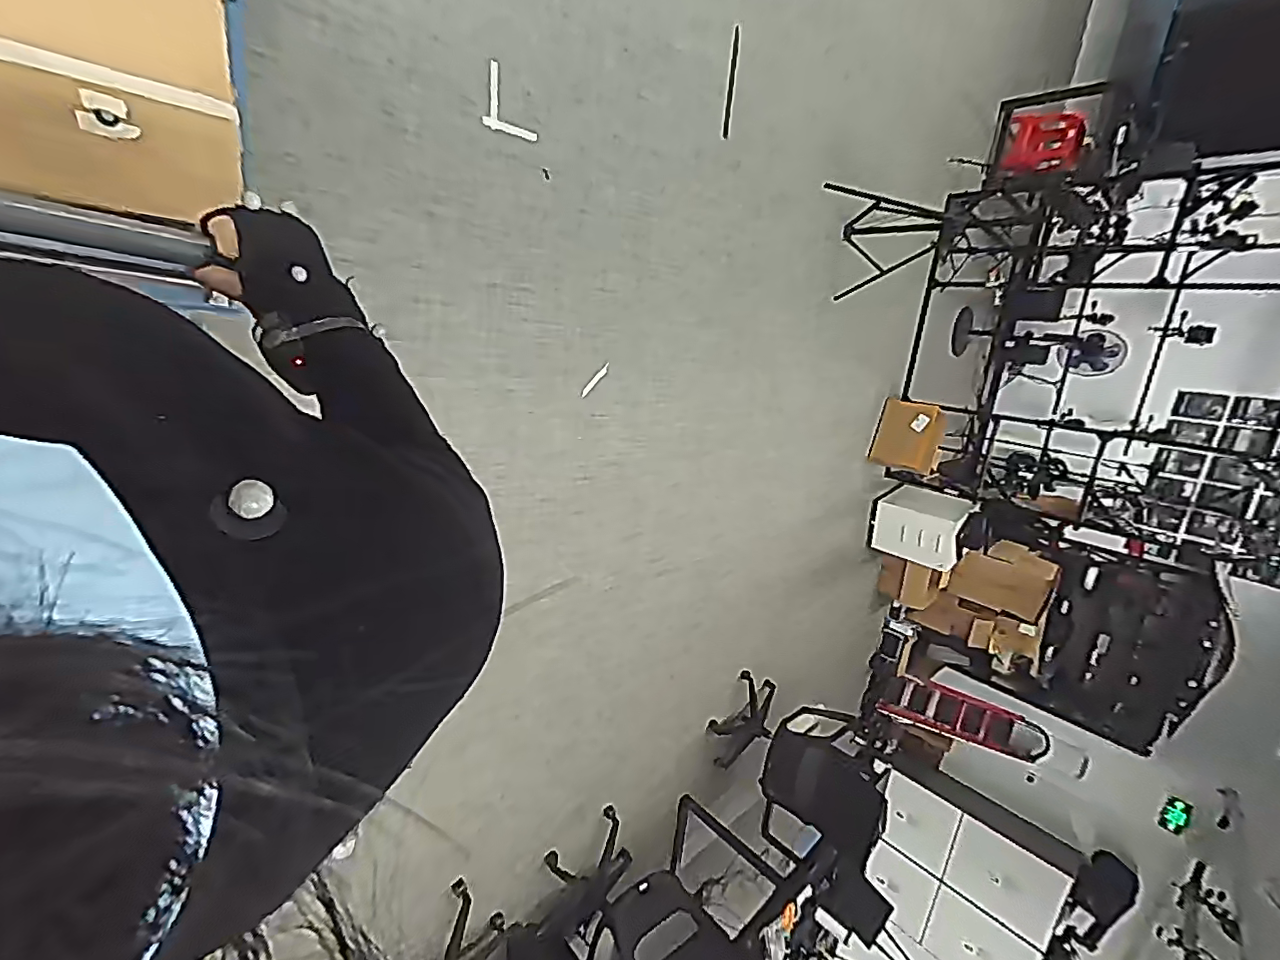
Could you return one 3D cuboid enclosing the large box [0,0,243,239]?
[{"bbox_3d":[-0.826,-0.528,0.724,0.408,0.320,0.320,-11,112,-45],"label":"large box"}]
